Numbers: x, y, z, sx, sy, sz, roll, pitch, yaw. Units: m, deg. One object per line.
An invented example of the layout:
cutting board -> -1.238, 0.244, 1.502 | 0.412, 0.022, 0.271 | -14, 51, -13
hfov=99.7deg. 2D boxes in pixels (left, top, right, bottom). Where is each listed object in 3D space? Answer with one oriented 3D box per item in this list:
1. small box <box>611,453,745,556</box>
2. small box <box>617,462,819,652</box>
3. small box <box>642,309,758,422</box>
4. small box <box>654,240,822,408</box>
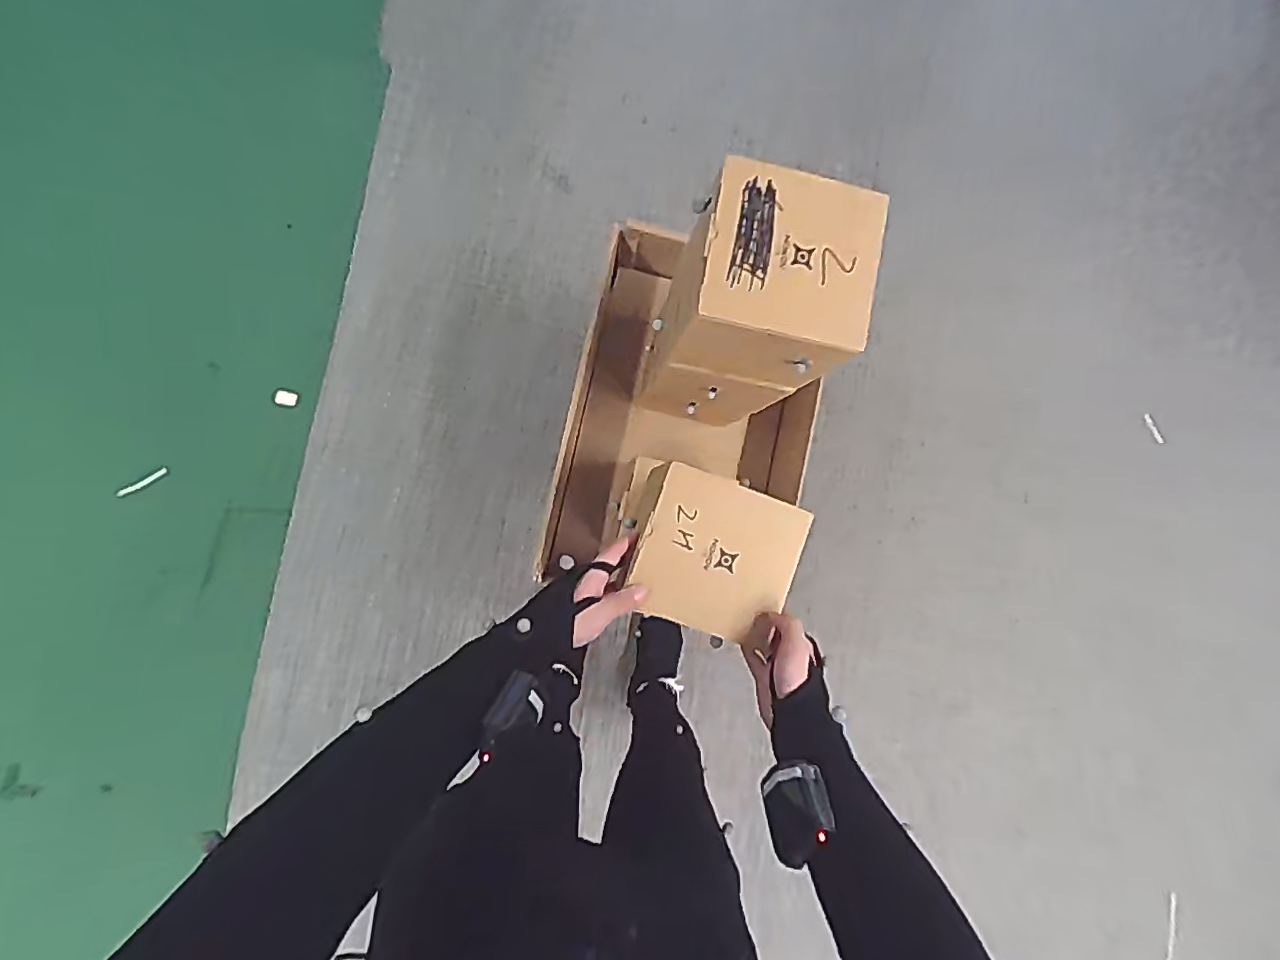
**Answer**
small box -> 0.054, 0.063, 0.906 | 0.179, 0.176, 0.168 | 15, 85, -5
small box -> 0.083, 0.086, 0.666 | 0.179, 0.176, 0.168 | 21, 85, -5
small box -> 0.110, -0.202, 0.928 | 0.179, 0.176, 0.168 | 13, 86, -6
small box -> 0.127, -0.205, 0.764 | 0.179, 0.176, 0.168 | 11, 86, -5
